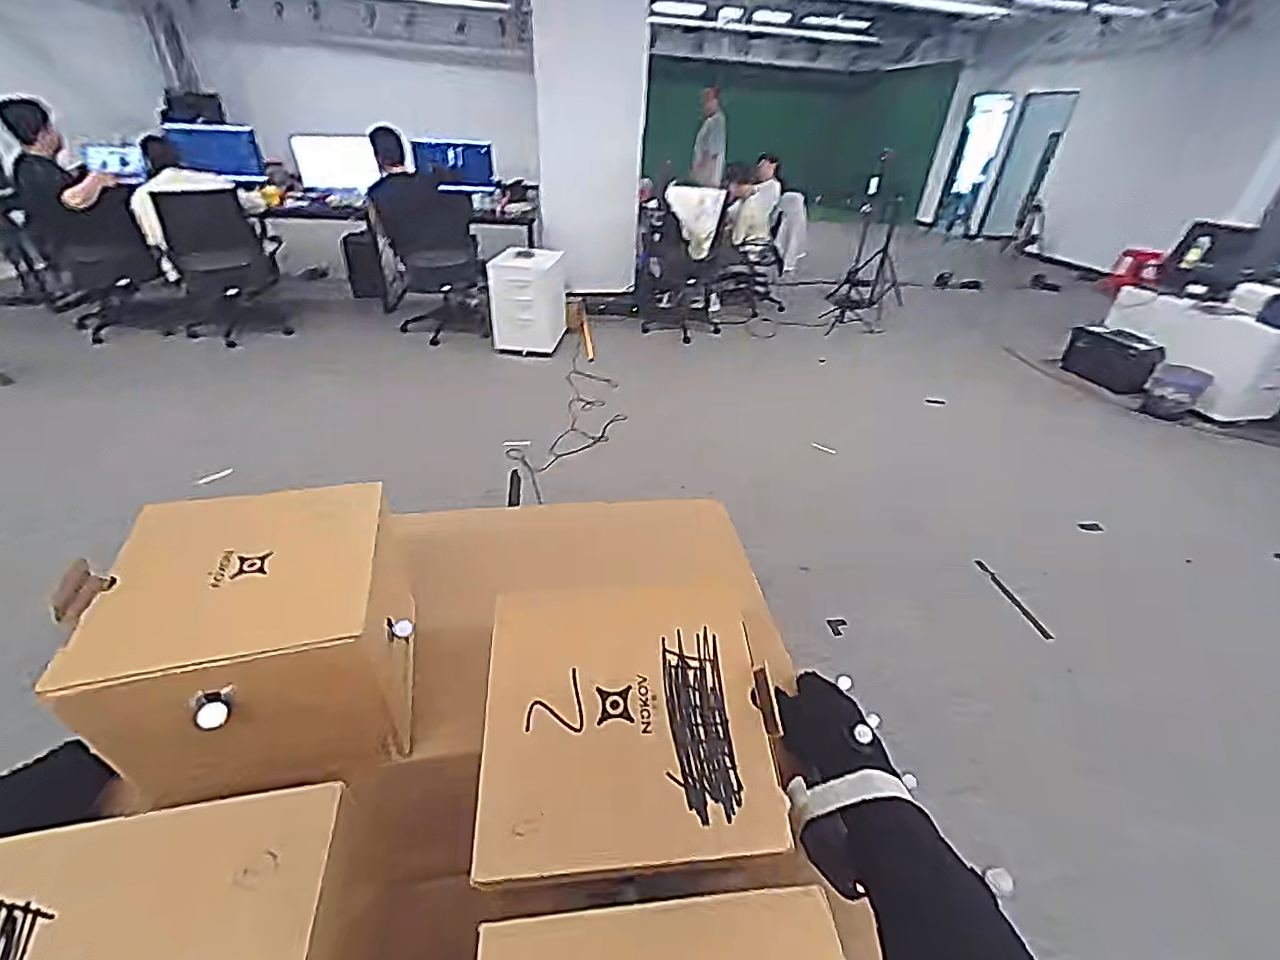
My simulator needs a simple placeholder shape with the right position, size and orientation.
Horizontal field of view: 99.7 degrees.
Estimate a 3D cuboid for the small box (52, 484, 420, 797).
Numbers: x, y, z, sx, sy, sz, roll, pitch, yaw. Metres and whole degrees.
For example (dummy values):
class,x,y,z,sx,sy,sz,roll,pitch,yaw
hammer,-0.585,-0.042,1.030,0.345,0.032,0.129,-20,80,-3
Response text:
class,x,y,z,sx,sy,sz,roll,pitch,yaw
small box,-0.288,0.127,0.446,0.179,0.176,0.168,-7,39,-14
